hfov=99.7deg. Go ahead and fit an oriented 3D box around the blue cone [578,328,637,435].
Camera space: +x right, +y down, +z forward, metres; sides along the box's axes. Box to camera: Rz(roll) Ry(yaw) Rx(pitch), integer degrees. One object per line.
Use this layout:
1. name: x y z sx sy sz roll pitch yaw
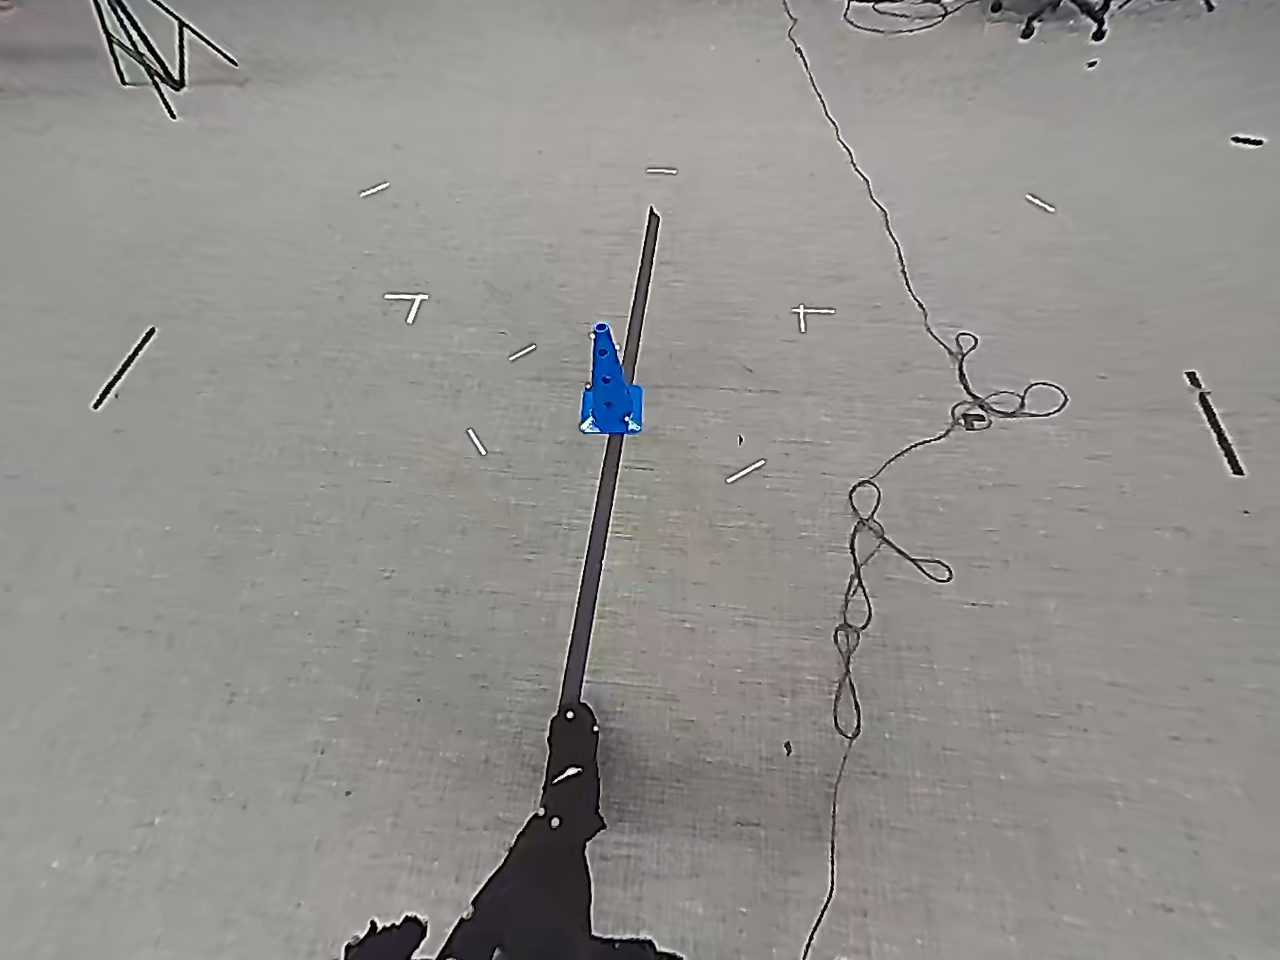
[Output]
1. blue cone: -0.115 -0.314 1.653 0.192 0.380 0.193 1 58 4
